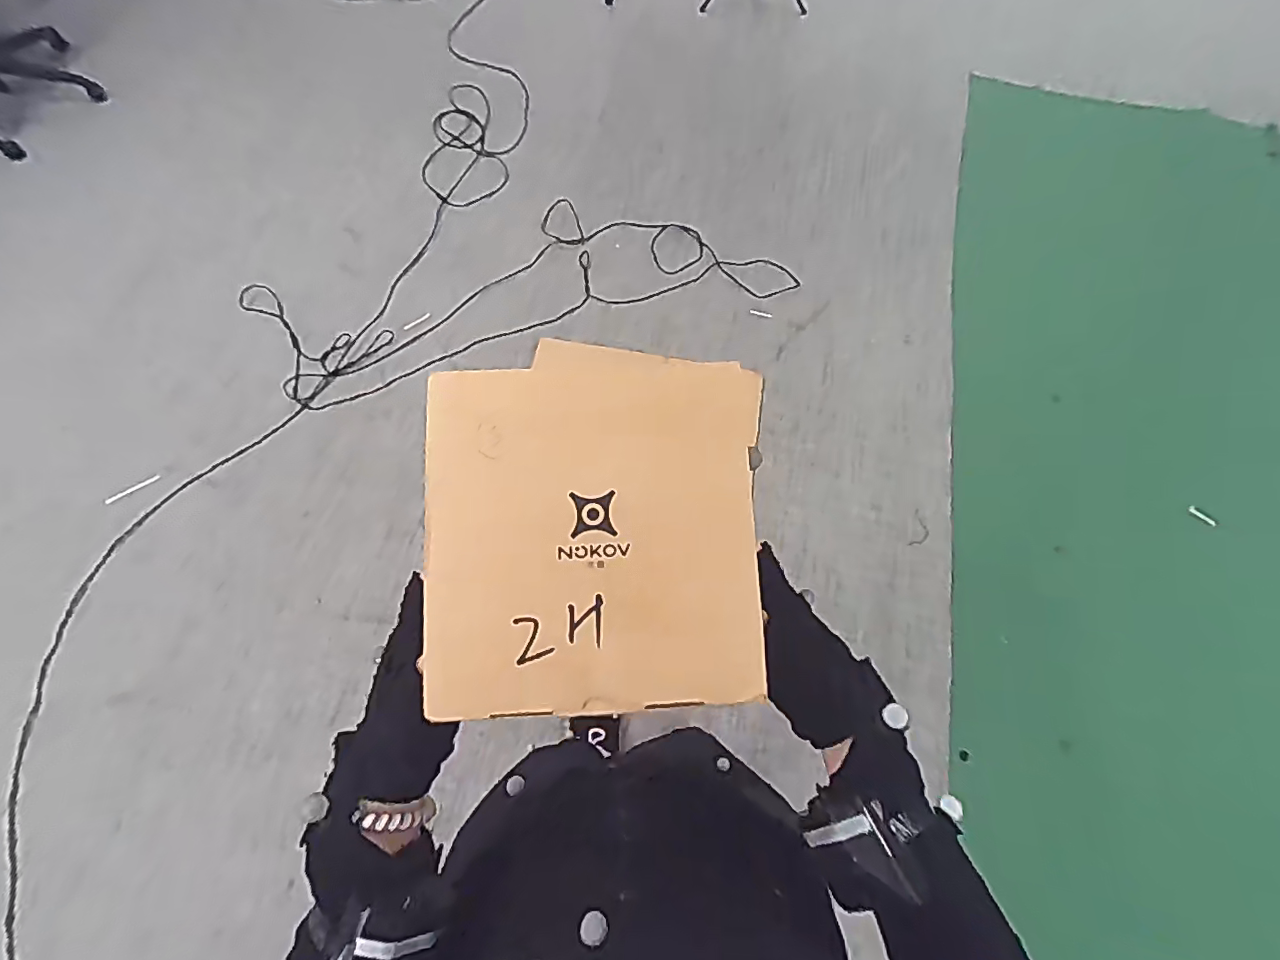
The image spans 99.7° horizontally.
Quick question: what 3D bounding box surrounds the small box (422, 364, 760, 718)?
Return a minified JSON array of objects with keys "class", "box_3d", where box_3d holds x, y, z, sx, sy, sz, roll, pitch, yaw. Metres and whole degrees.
[{"class":"small box","box_3d":[-0.028,0.038,0.352,0.168,0.176,0.179,-3,81,-2]}]
